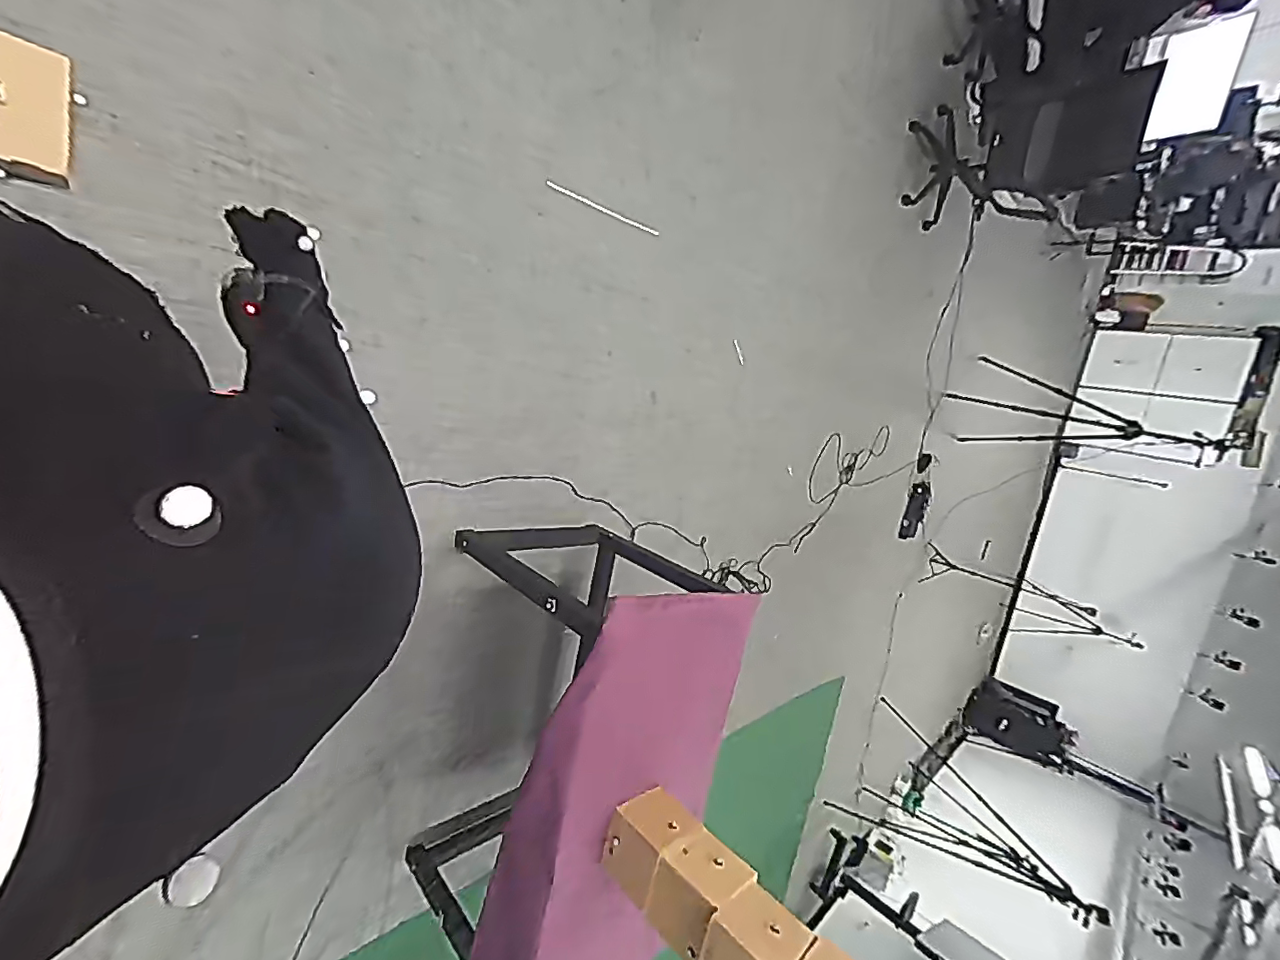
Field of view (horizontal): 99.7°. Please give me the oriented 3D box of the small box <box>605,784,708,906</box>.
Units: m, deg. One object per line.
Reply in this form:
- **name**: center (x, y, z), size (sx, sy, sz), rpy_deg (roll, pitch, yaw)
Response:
- **small box**: center (0.040, 0.916, 1.379), size (0.179, 0.176, 0.168), rpy_deg (8, 97, -46)

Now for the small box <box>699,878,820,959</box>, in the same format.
- **small box**: center (0.249, 1.001, 1.144), size (0.179, 0.176, 0.168), rpy_deg (10, 97, -48)

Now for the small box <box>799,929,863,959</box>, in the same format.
- **small box**: center (0.374, 1.039, 1.042), size (0.179, 0.176, 0.168), rpy_deg (4, 102, -47)

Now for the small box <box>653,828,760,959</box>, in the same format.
- **small box**: center (0.152, 0.962, 1.272), size (0.168, 0.176, 0.179), rpy_deg (6, 100, -46)

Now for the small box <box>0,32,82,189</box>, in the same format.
- **small box**: center (-1.000, -0.585, 0.849), size (0.168, 0.176, 0.179), rpy_deg (1, 104, -45)
